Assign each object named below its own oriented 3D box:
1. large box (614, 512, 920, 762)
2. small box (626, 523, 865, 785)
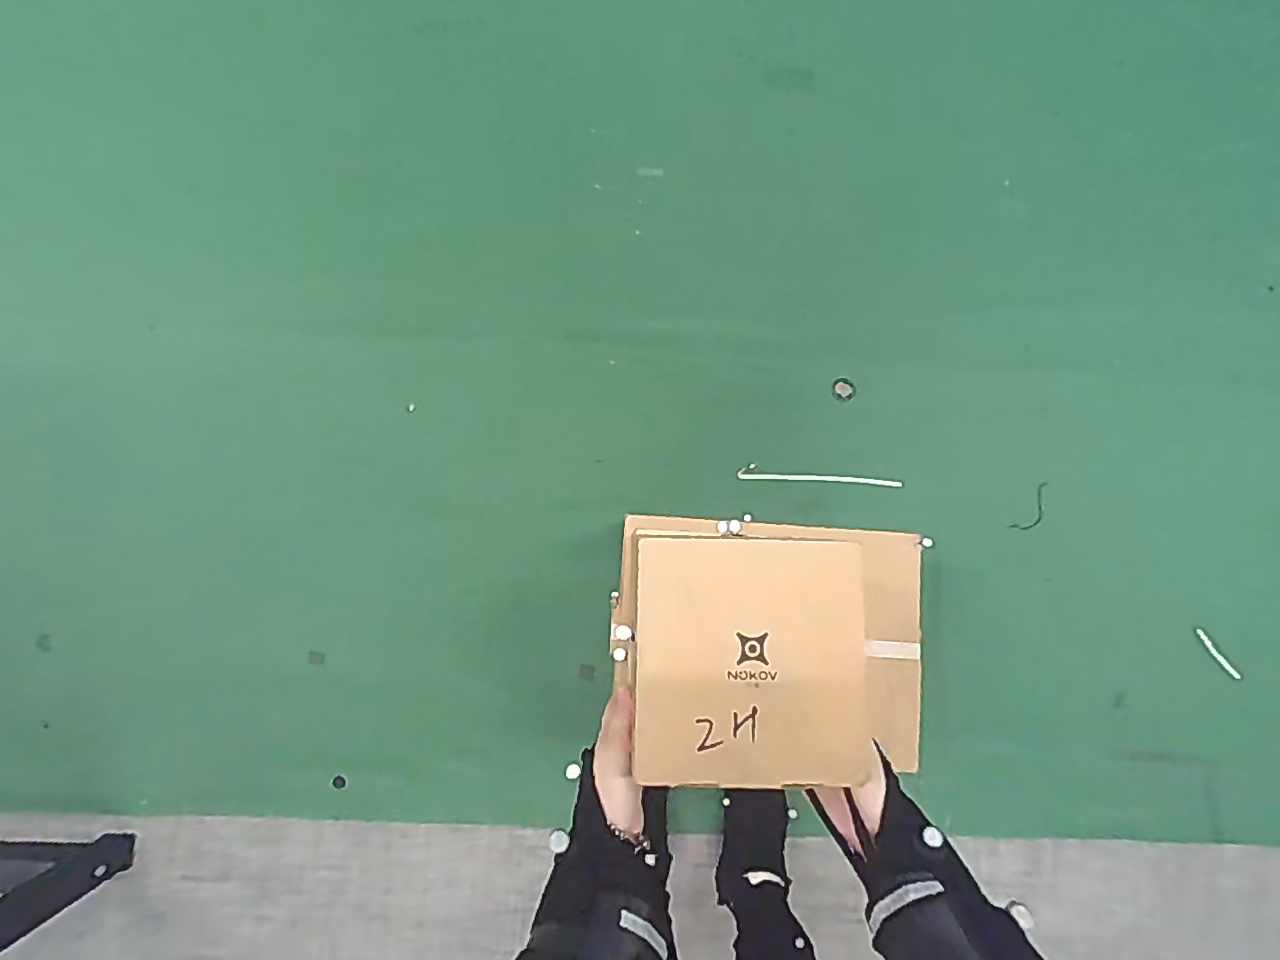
[{"bbox_3d":[0.166,0.221,0.860,0.408,0.320,0.320,4,85,-1],"label":"large box"},{"bbox_3d":[0.073,0.129,0.457,0.168,0.176,0.179,2,84,-1],"label":"small box"}]
